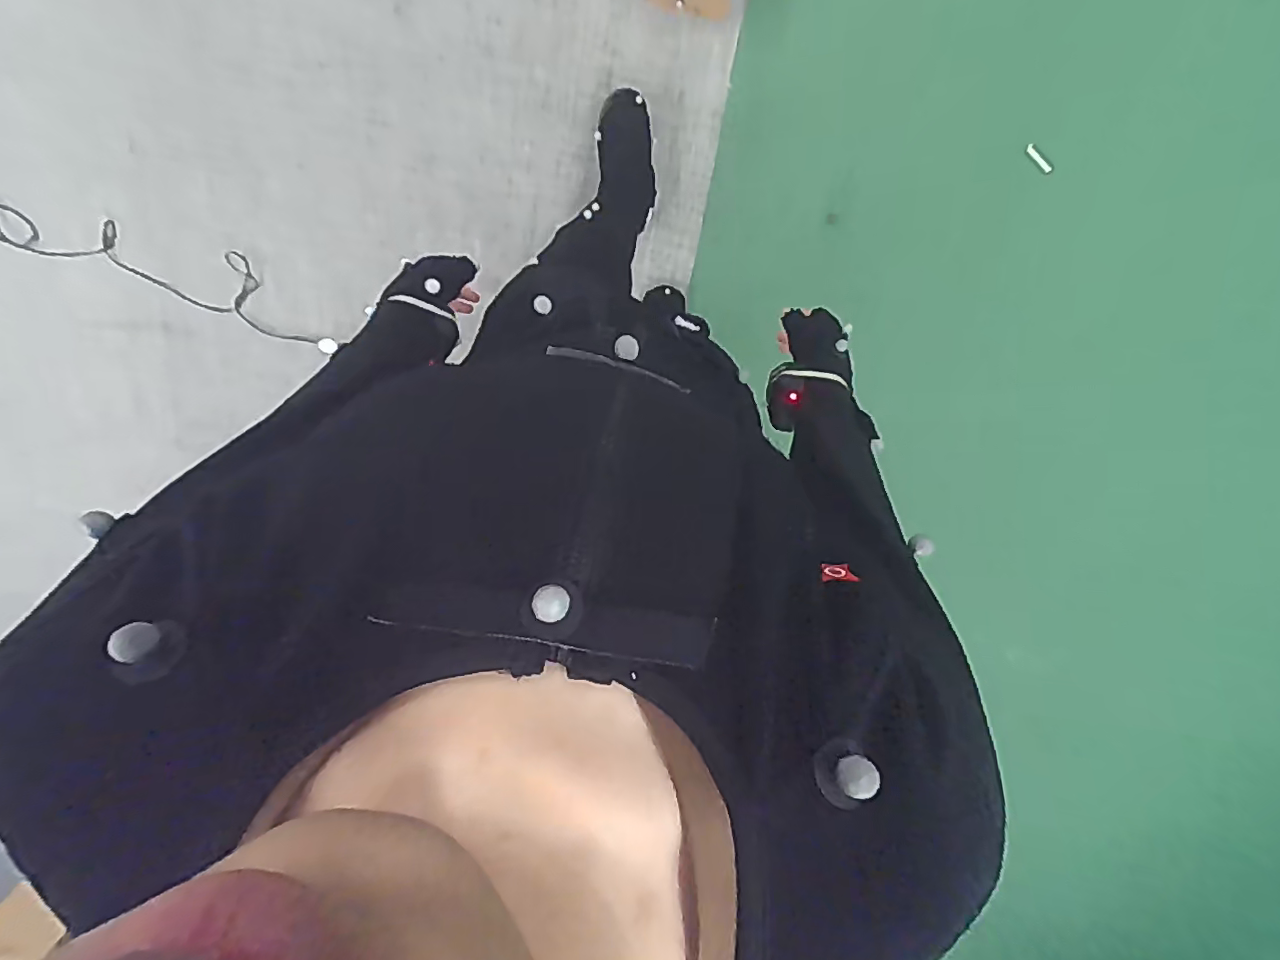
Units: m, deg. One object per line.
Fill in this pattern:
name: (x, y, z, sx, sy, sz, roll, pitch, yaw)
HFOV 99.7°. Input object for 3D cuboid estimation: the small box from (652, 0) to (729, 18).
small box: (0.104, -0.998, 0.989, 0.168, 0.176, 0.179, 10, 115, -2)

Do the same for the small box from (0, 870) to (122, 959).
small box: (-1.265, 0.974, 1.148, 0.168, 0.176, 0.179, 9, 116, -2)
